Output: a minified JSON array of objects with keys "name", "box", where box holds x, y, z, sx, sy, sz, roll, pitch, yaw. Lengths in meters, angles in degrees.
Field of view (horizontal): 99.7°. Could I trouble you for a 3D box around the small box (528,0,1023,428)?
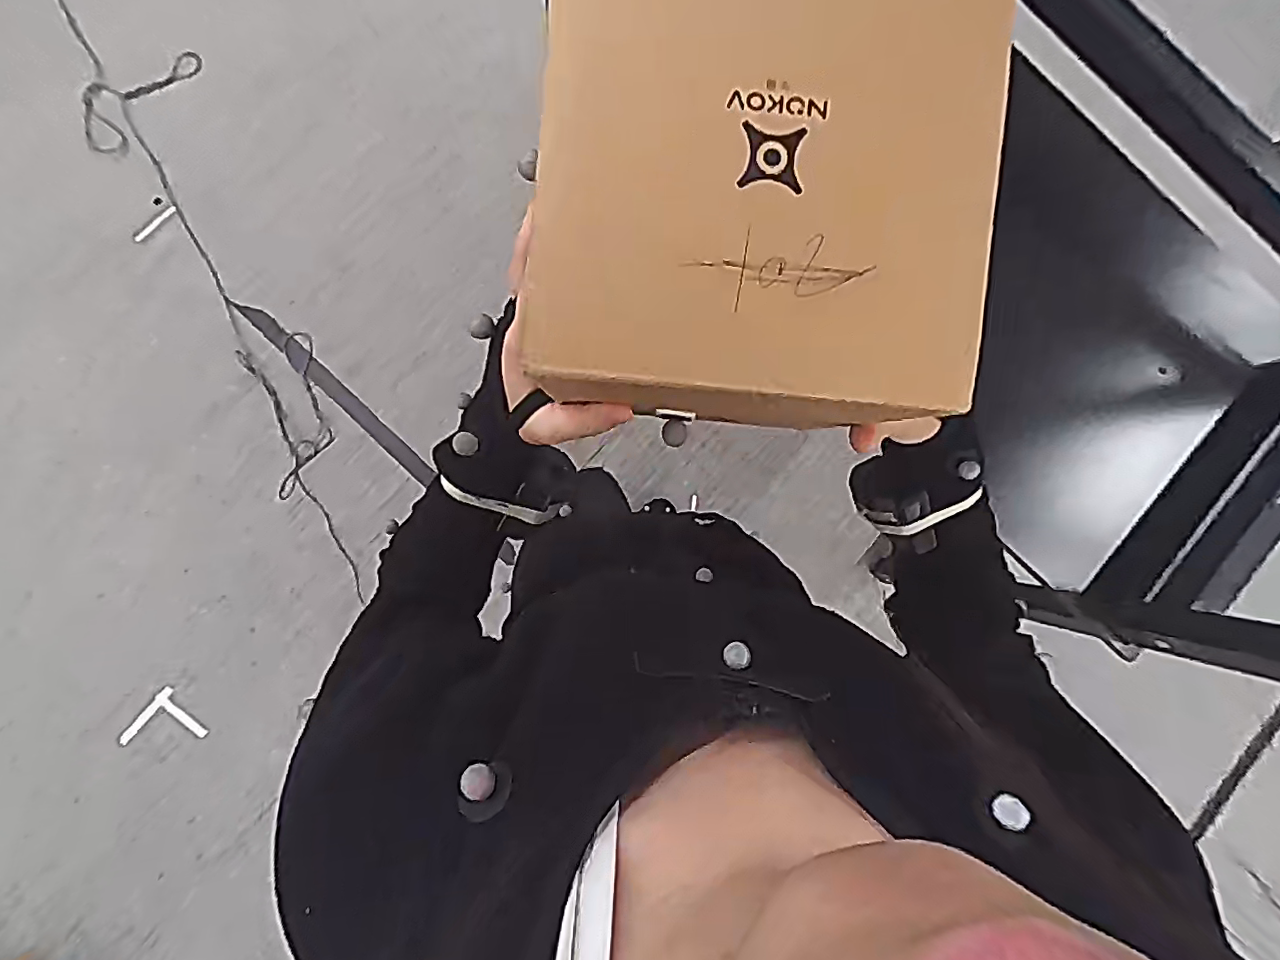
[{"name":"small box","box":[0.045,-0.122,0.268,0.168,0.176,0.179,4,93,-2]}]
